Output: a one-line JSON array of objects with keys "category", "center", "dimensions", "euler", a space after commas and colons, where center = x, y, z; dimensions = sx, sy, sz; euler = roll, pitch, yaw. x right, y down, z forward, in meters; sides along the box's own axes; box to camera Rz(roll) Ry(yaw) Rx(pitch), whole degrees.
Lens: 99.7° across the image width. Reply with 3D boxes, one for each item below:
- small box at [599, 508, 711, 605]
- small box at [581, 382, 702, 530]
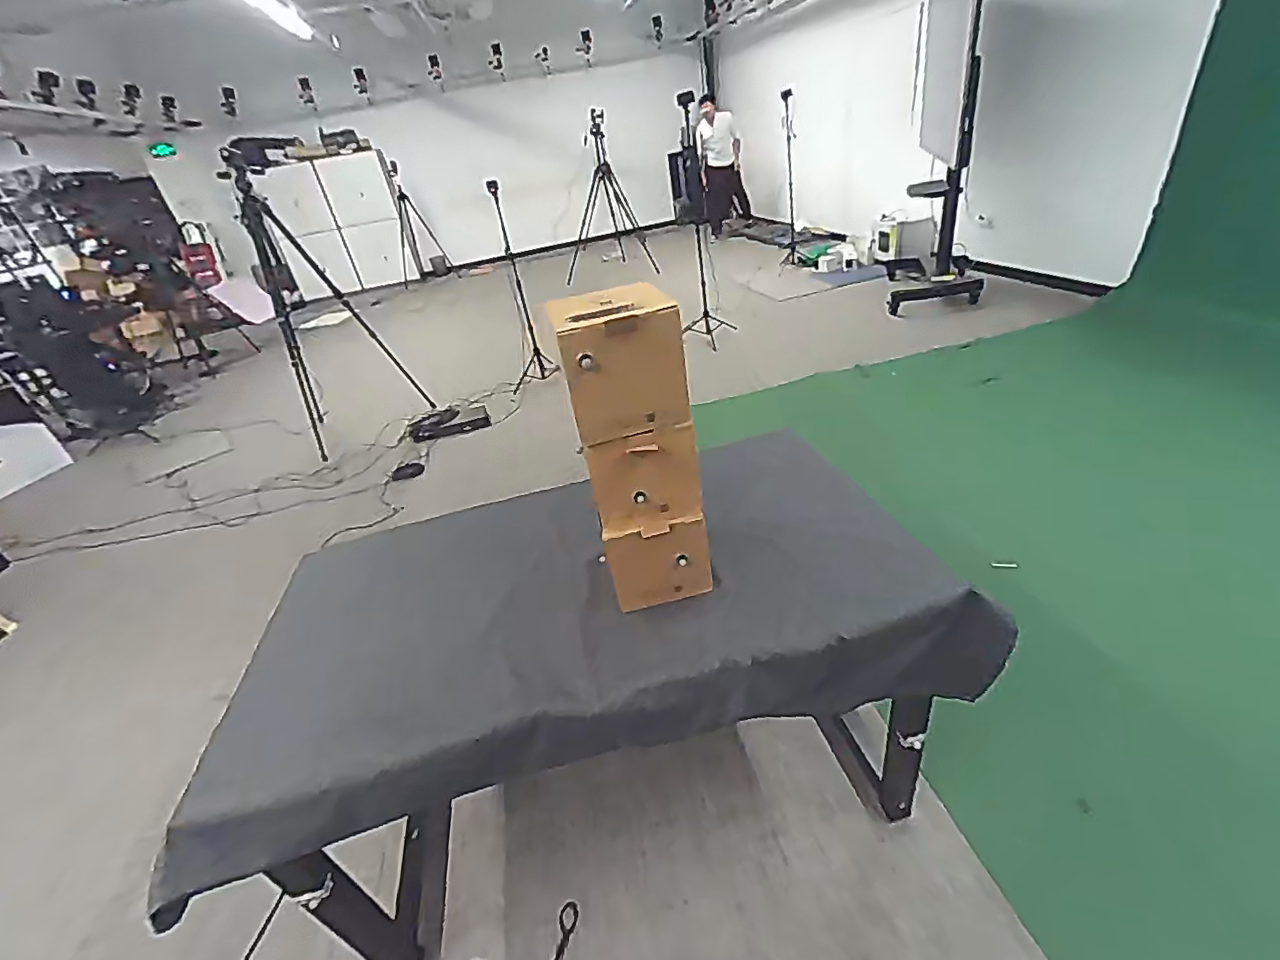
[{"category": "small box", "center": [0.023, 0.103, 0.962], "dimensions": [0.168, 0.176, 0.179], "euler": [-12, 31, -4]}, {"category": "small box", "center": [0.000, -0.042, 0.891], "dimensions": [0.168, 0.176, 0.179], "euler": [-11, 32, -3]}]
